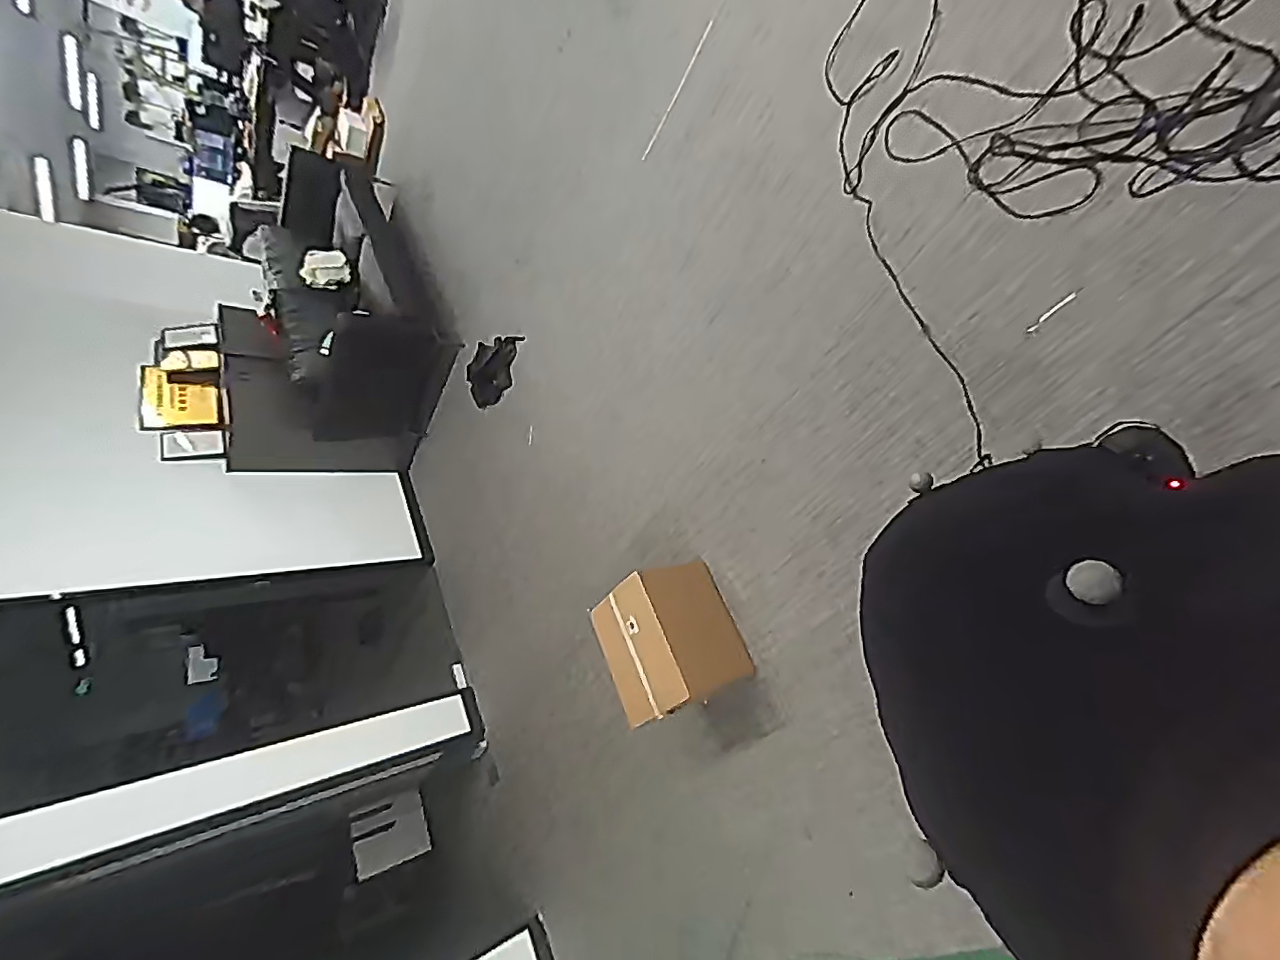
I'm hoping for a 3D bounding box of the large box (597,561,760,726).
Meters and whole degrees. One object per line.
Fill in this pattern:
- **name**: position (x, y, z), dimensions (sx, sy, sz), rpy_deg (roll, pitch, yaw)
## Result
- **large box**: position (0.117, 0.524, 1.774), dimensions (0.320, 0.320, 0.408), rpy_deg (-47, 55, 38)
